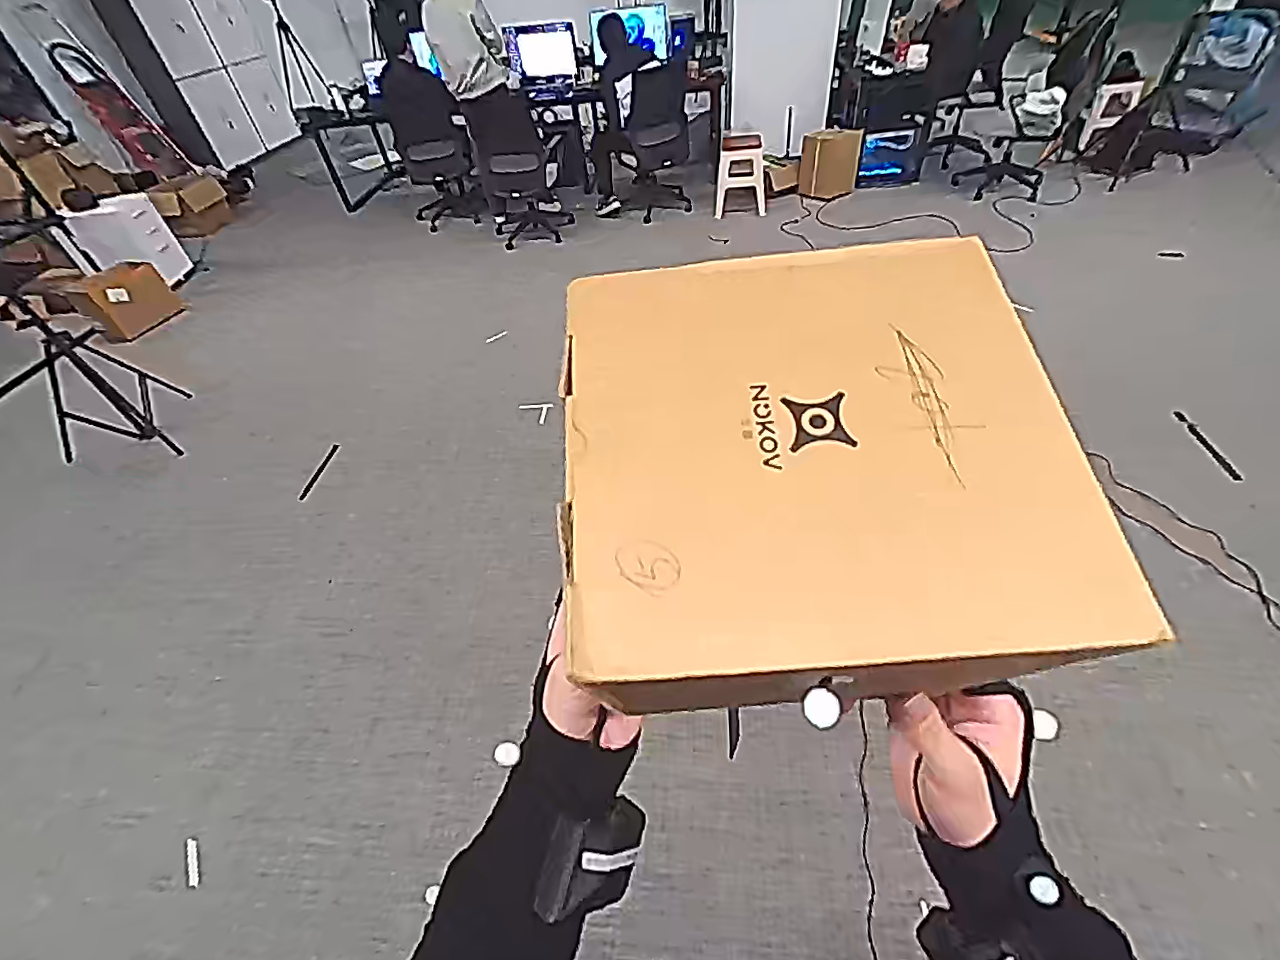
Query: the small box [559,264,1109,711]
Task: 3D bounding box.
[{"bbox_3d":[0.063,0.021,0.278,0.179,0.176,0.168,-6,64,2],"label":"small box"}]
